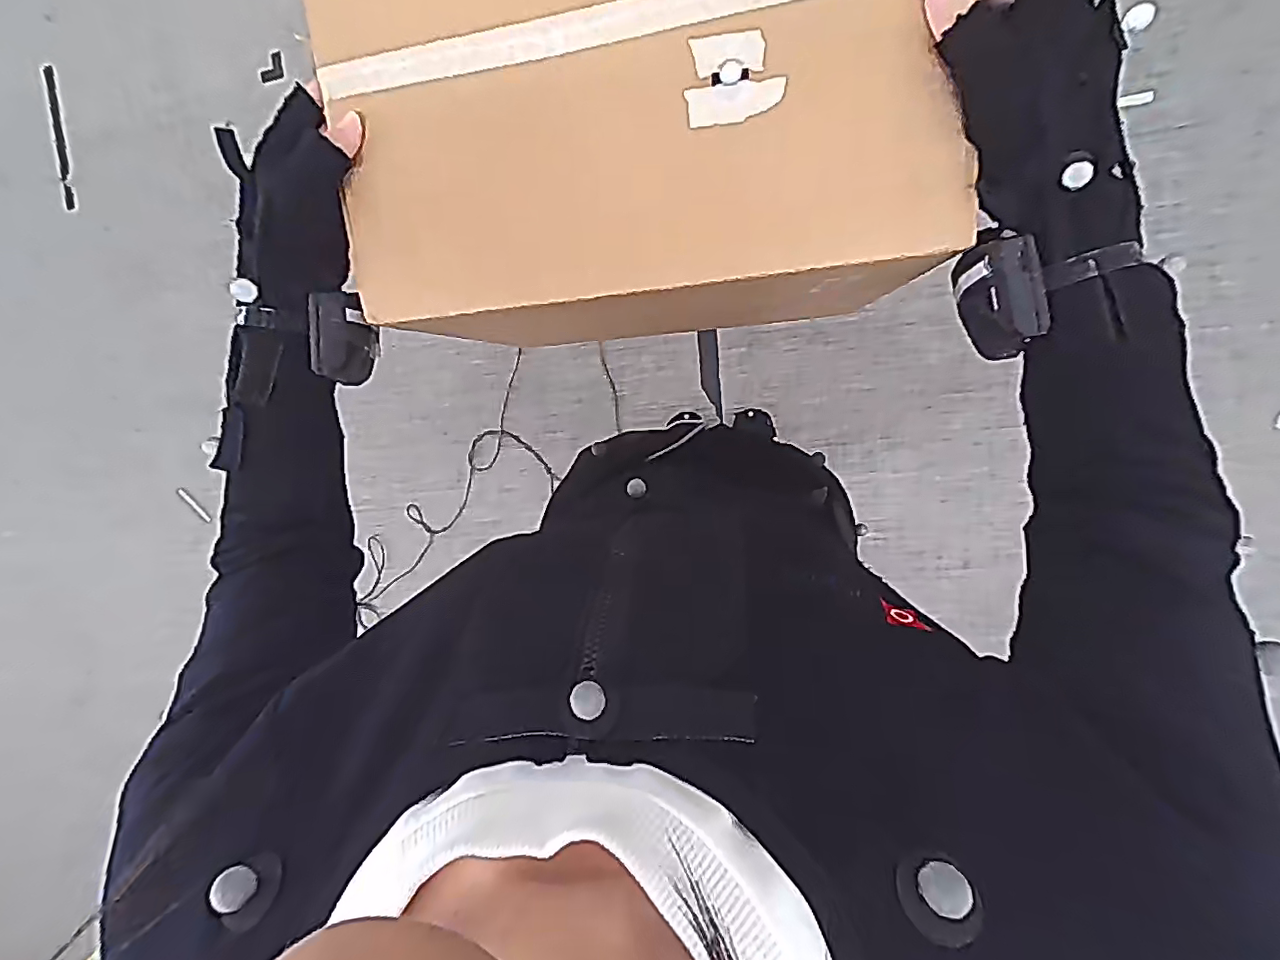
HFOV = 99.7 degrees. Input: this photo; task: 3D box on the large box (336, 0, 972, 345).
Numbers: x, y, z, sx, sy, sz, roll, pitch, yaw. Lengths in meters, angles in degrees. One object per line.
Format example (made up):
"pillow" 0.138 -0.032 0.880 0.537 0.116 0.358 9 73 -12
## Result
"large box" 0.014 -0.312 0.487 0.408 0.320 0.320 -4 100 9
